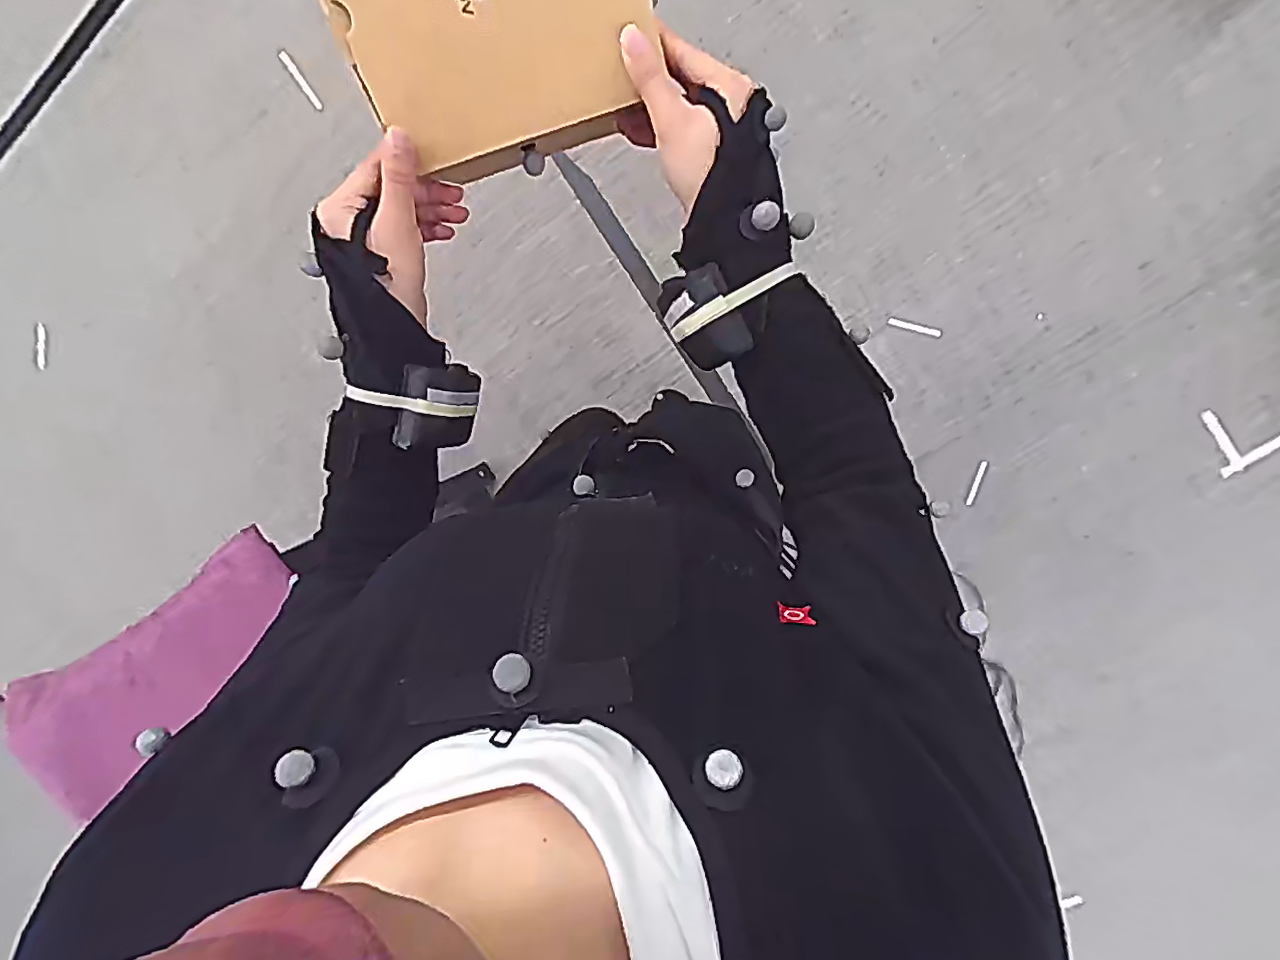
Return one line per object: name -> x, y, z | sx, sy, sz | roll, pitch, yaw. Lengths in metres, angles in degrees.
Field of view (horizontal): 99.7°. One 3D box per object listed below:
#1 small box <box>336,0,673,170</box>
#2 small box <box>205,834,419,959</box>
small box -> -0.089, -0.322, 0.361 | 0.179, 0.176, 0.168 | -15, 119, 4
small box -> -0.447, 0.640, 0.740 | 0.179, 0.176, 0.168 | -33, 96, 13
